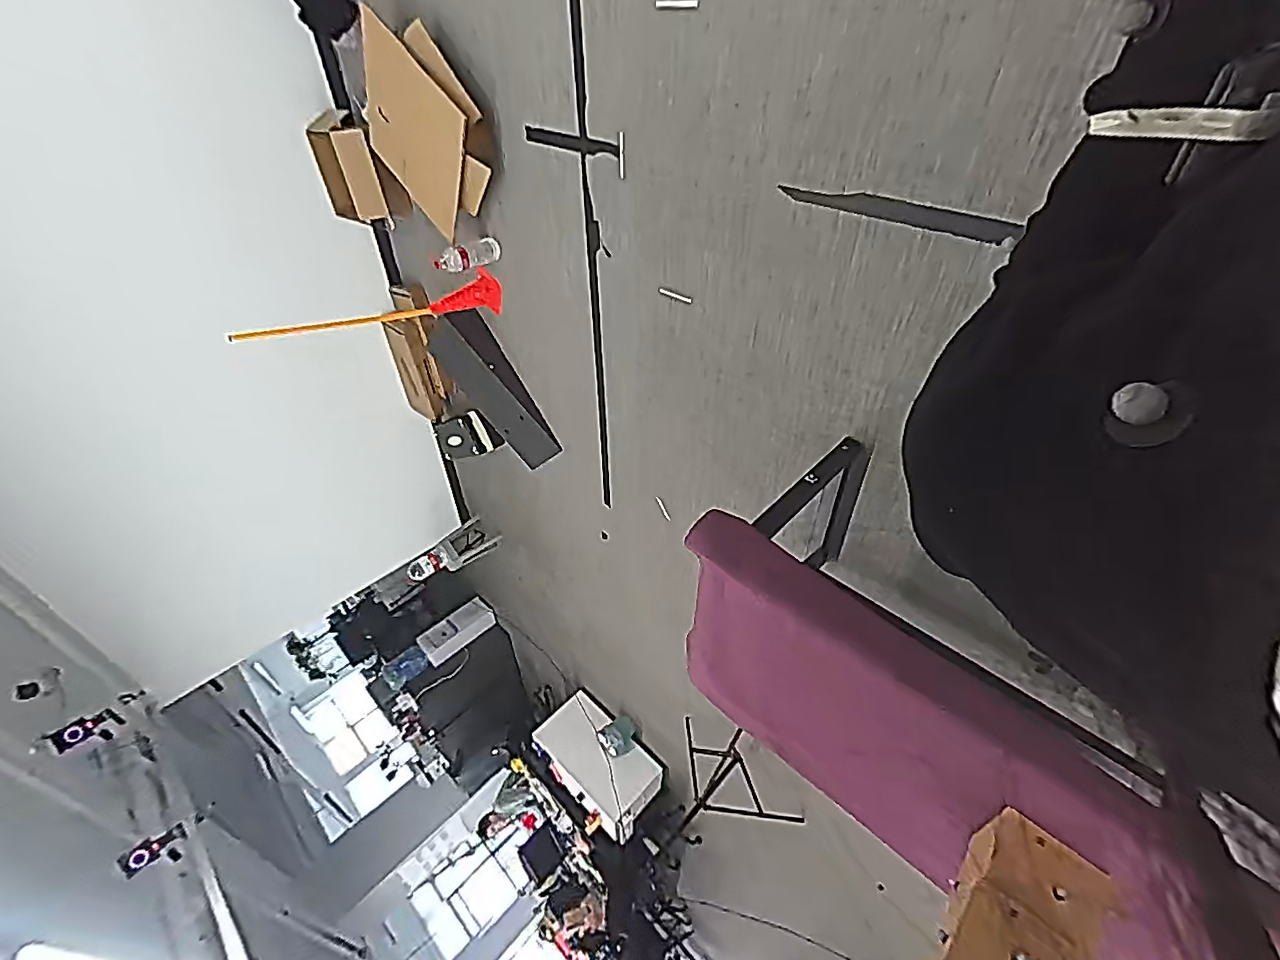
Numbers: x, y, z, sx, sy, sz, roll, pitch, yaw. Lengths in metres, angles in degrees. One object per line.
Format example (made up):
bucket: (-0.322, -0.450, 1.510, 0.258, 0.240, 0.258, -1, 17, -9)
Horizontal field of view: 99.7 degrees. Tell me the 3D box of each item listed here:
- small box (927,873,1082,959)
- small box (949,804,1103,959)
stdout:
small box: (0.598, 0.808, 0.900, 0.168, 0.176, 0.179, 28, 138, 36)
small box: (0.714, 0.748, 1.001, 0.168, 0.176, 0.179, 31, 140, 32)
